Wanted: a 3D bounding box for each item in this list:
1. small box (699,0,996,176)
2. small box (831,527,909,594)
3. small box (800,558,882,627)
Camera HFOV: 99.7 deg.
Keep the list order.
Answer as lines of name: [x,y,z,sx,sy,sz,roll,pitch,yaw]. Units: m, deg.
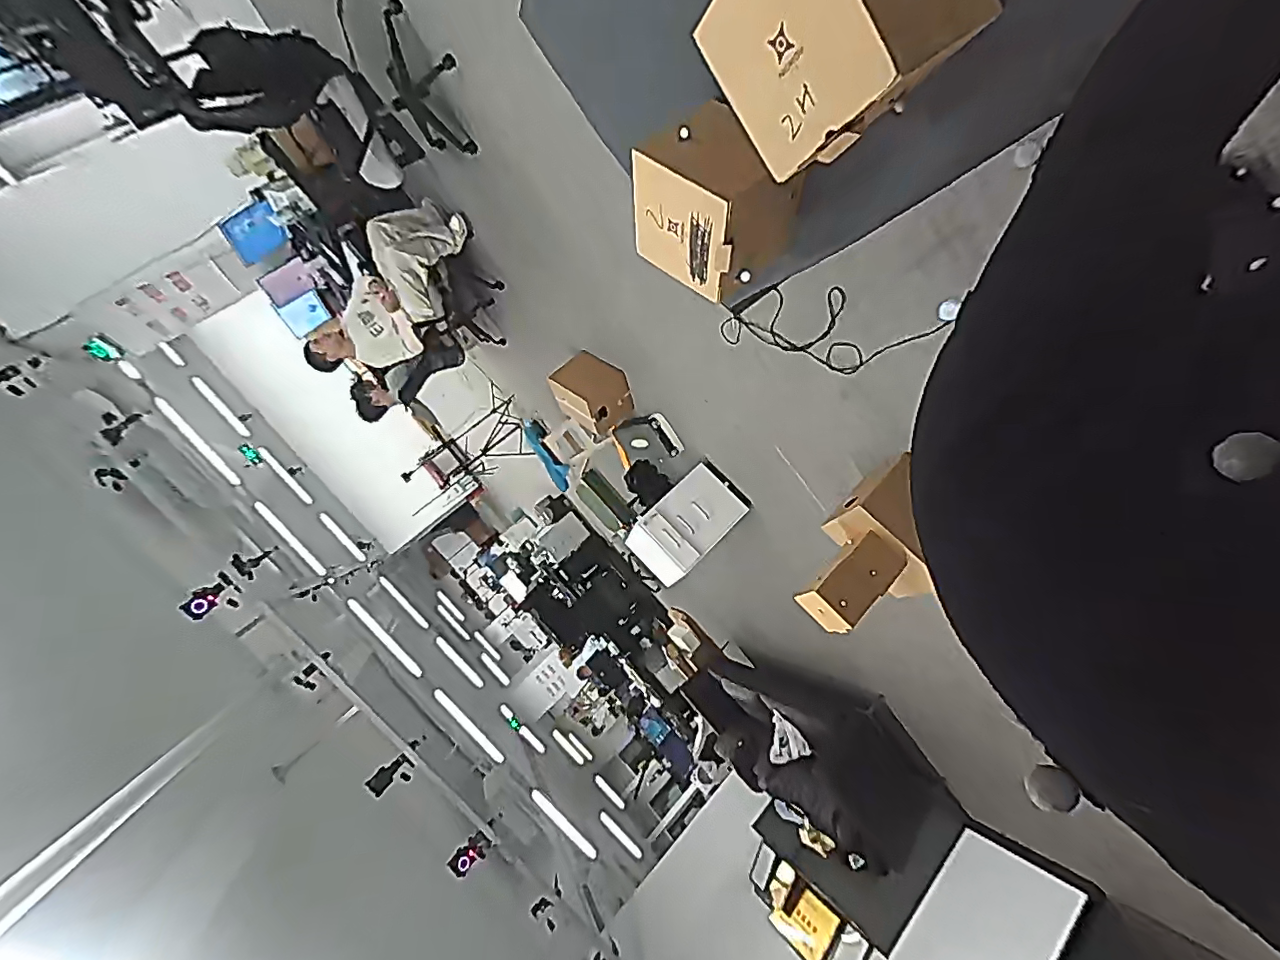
small box: [0.197,-0.452,0.529,0.179,0.176,0.168,53,162,-12]
small box: [0.830,0.297,1.957,0.179,0.176,0.168,45,160,8]
small box: [0.708,0.391,1.905,0.179,0.176,0.168,45,160,7]
